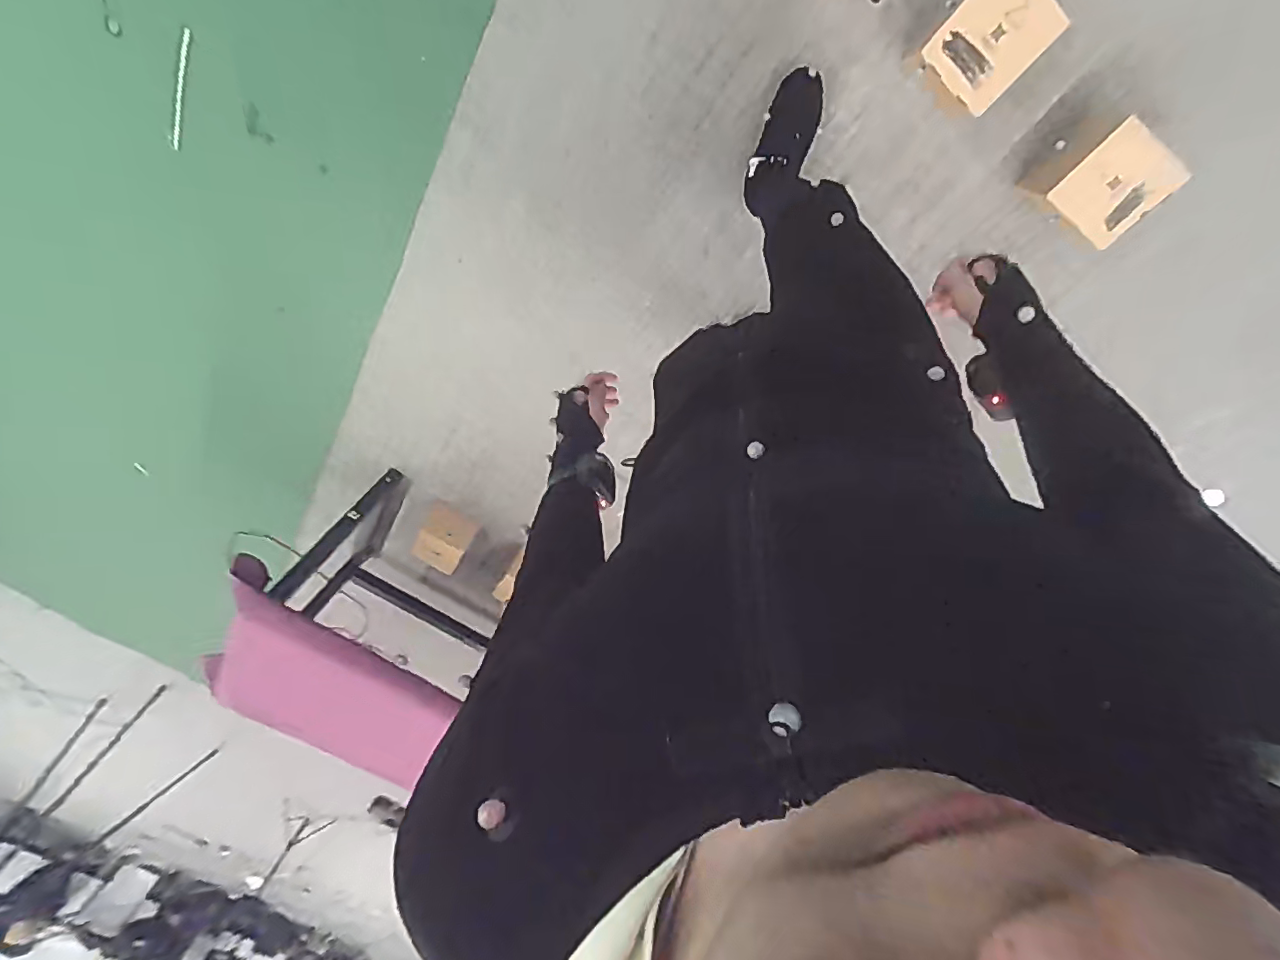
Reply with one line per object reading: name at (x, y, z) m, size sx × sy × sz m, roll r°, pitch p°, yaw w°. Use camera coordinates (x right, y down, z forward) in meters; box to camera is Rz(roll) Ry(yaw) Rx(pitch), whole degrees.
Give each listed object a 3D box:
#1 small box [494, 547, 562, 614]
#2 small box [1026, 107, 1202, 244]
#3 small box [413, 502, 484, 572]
small box at (-0.434, 0.386, 2.117) m, size 0.179 × 0.176 × 0.168 m, roll 34°, pitch 126°, yaw -12°
small box at (0.923, -0.607, 1.071) m, size 0.179 × 0.176 × 0.168 m, roll 34°, pitch 125°, yaw -11°
small box at (-0.725, 0.213, 2.063) m, size 0.179 × 0.176 × 0.168 m, roll 31°, pitch 126°, yaw -9°
